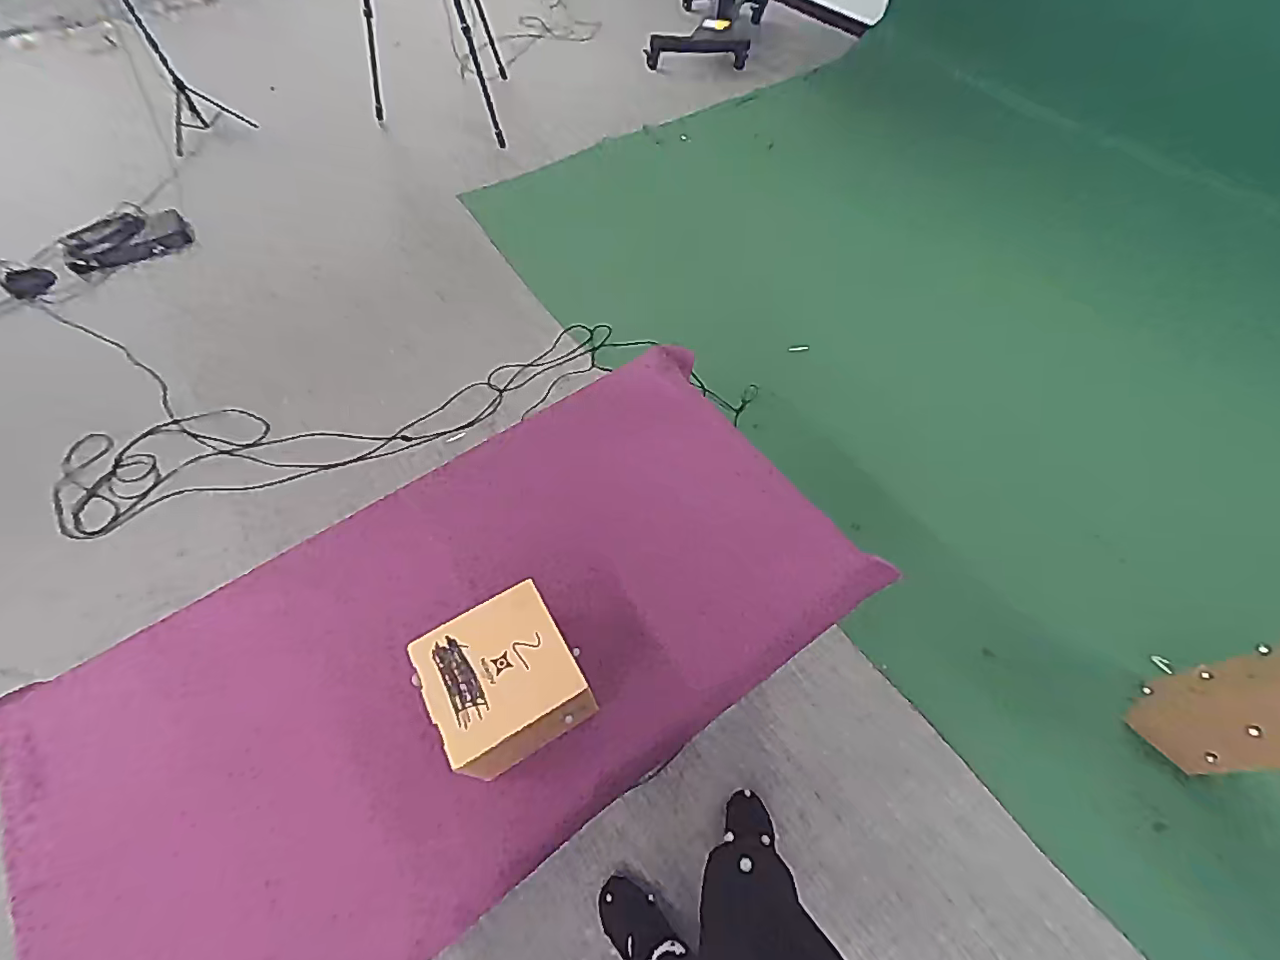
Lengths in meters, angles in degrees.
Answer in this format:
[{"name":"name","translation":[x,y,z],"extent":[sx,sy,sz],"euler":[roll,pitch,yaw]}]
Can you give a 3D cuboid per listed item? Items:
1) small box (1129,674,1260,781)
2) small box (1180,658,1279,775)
[{"name":"small box","translation":[1.397,0.618,1.345],"extent":[0.168,0.176,0.179],"euler":[-35,64,-19]},{"name":"small box","translation":[1.395,0.533,1.207],"extent":[0.168,0.176,0.179],"euler":[-33,63,-18]}]
